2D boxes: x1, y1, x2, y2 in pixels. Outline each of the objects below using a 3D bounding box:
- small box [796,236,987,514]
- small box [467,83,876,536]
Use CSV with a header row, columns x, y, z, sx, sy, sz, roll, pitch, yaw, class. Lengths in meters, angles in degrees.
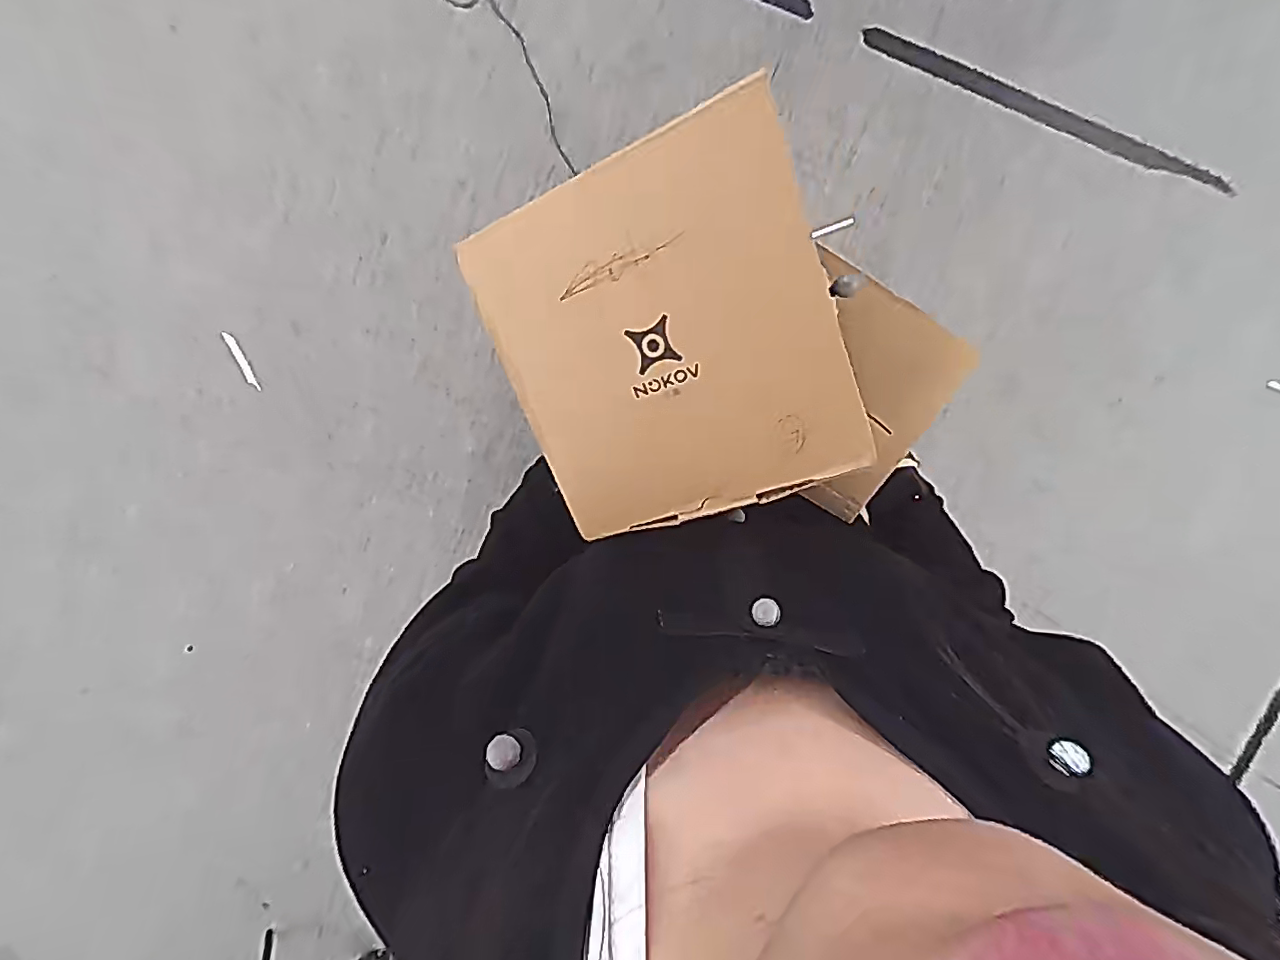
x,y,z,sx,sy,sz,roll,pitch,yaw,class
0.156,-0.102,0.500,0.179,0.176,0.168,31,110,-3,small box
0.035,-0.092,0.340,0.168,0.176,0.179,-18,104,23,small box
